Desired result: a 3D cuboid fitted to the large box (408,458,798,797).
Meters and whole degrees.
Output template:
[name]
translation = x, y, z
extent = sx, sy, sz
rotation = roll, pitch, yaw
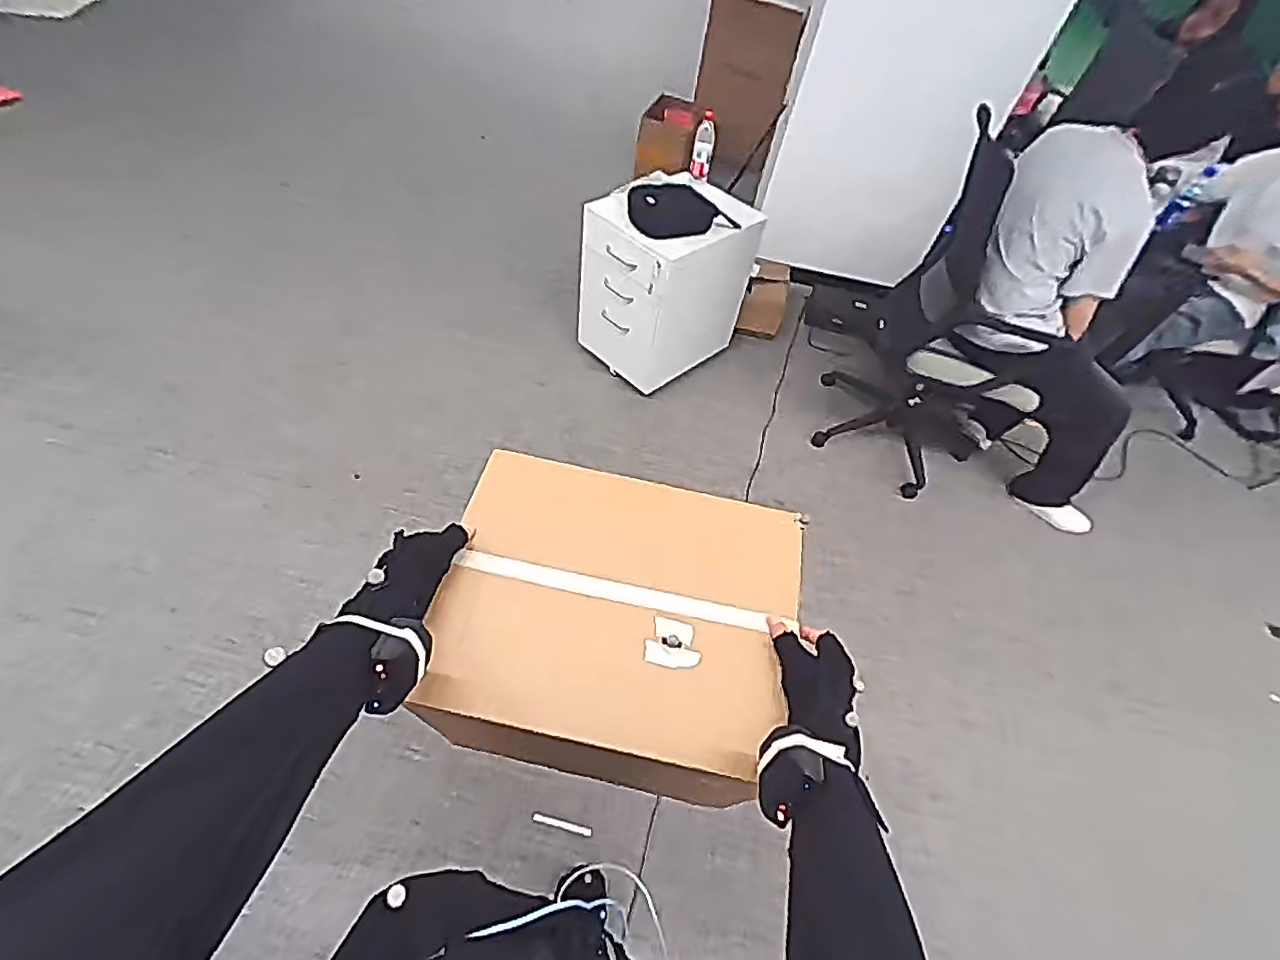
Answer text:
[large box]
translation = -0.032, 0.214, 0.746
extent = 0.408, 0.320, 0.320
rotation = 13, 57, 2
